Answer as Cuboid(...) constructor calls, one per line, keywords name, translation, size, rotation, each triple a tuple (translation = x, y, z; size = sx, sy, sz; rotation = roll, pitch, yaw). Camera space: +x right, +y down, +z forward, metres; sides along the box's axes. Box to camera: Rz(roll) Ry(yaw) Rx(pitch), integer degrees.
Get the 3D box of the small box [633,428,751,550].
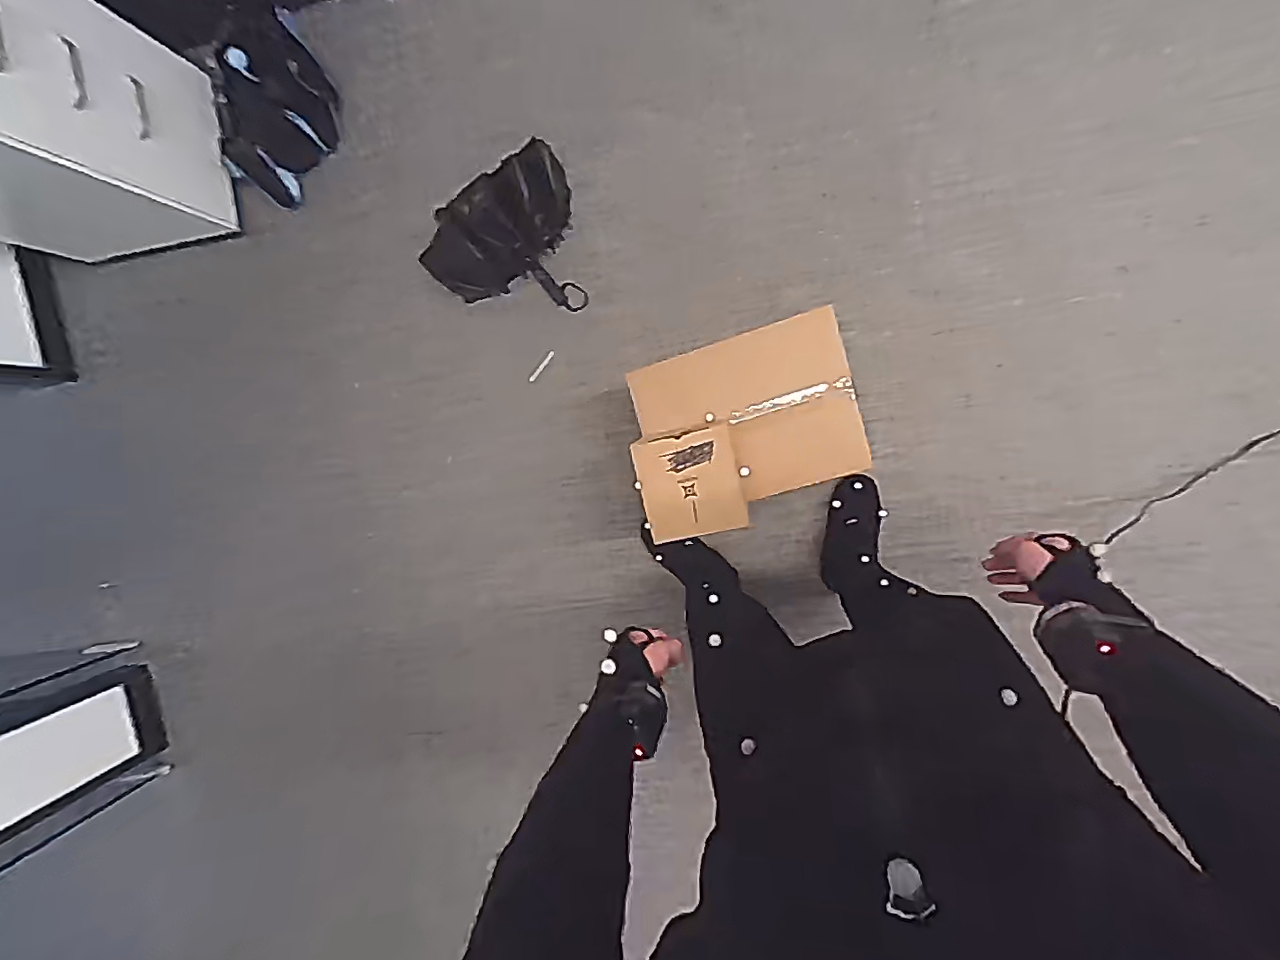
Cuboid(name="small box", translation=(0.094, 0.007, 0.957), size=(0.168, 0.176, 0.179), rotation=(-12, 97, 11))
